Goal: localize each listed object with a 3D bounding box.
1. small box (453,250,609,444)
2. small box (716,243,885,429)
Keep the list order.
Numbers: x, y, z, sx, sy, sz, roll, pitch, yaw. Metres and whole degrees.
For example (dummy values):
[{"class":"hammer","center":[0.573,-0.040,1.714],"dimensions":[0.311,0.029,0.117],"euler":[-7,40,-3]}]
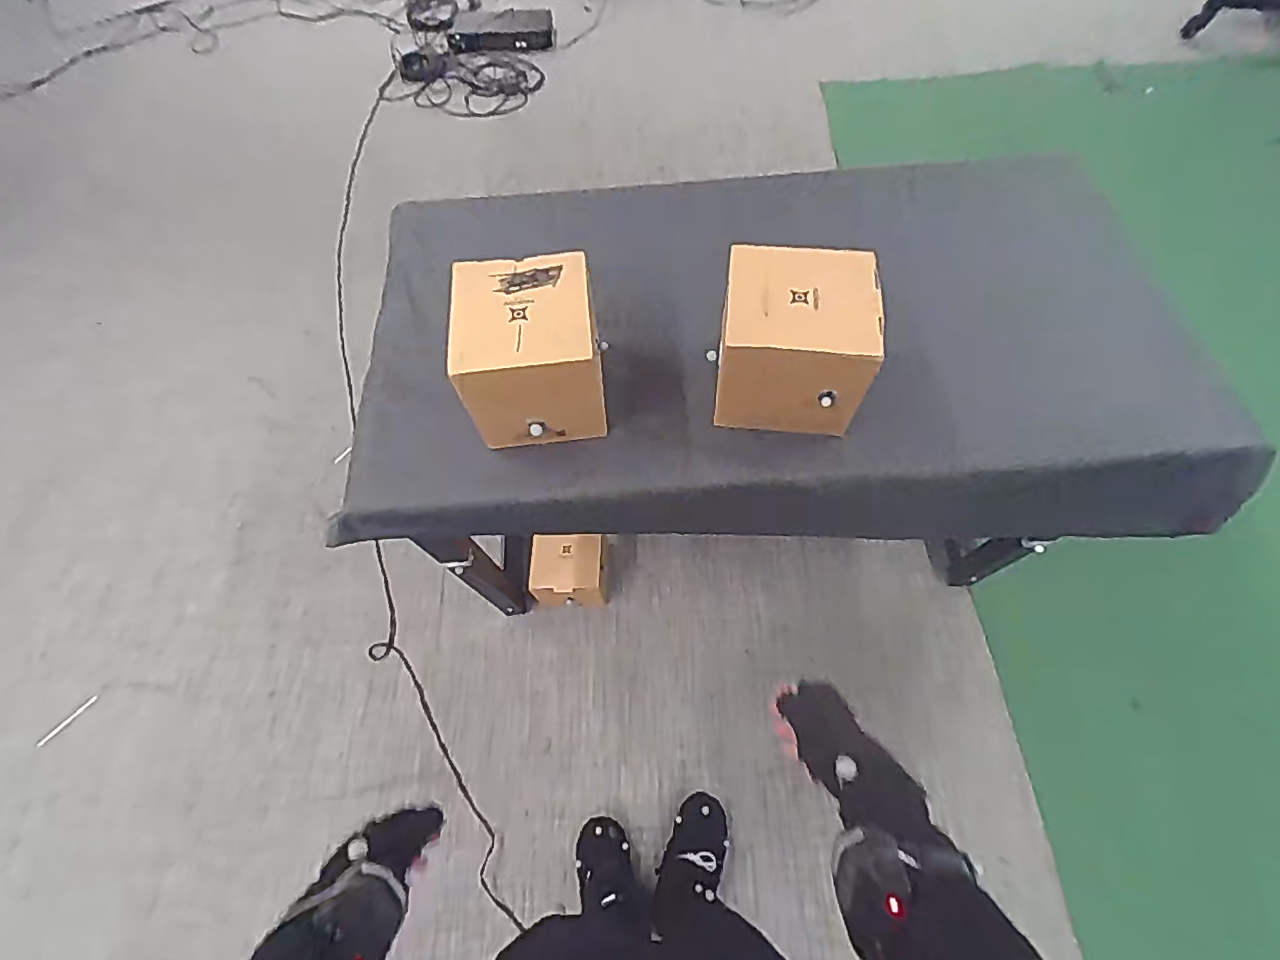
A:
[{"class":"small box","center":[-0.133,-0.169,0.711],"dimensions":[0.168,0.176,0.179],"euler":[-7,64,-1]},{"class":"small box","center":[0.197,-0.180,0.705],"dimensions":[0.179,0.176,0.168],"euler":[4,63,6]}]
